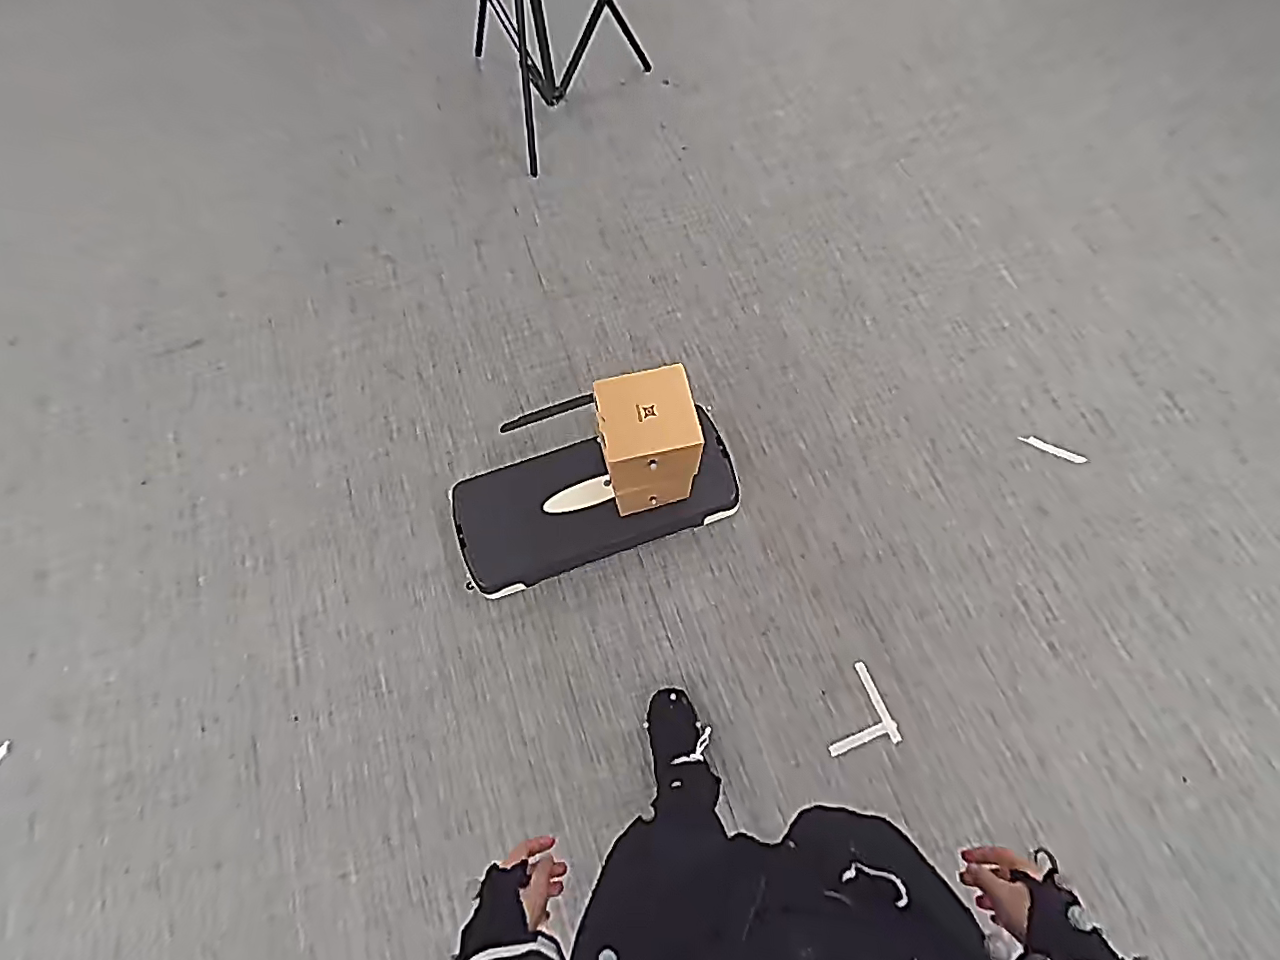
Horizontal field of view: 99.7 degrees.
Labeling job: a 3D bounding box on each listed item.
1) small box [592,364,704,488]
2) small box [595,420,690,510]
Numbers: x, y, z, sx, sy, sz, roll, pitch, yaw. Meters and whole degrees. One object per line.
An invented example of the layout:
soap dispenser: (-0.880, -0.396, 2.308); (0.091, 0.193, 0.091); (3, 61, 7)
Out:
small box: (0.013, -0.098, 1.043); (0.179, 0.176, 0.168); (-12, 72, -2)
small box: (0.007, -0.043, 1.196); (0.168, 0.176, 0.179); (-15, 71, -4)
